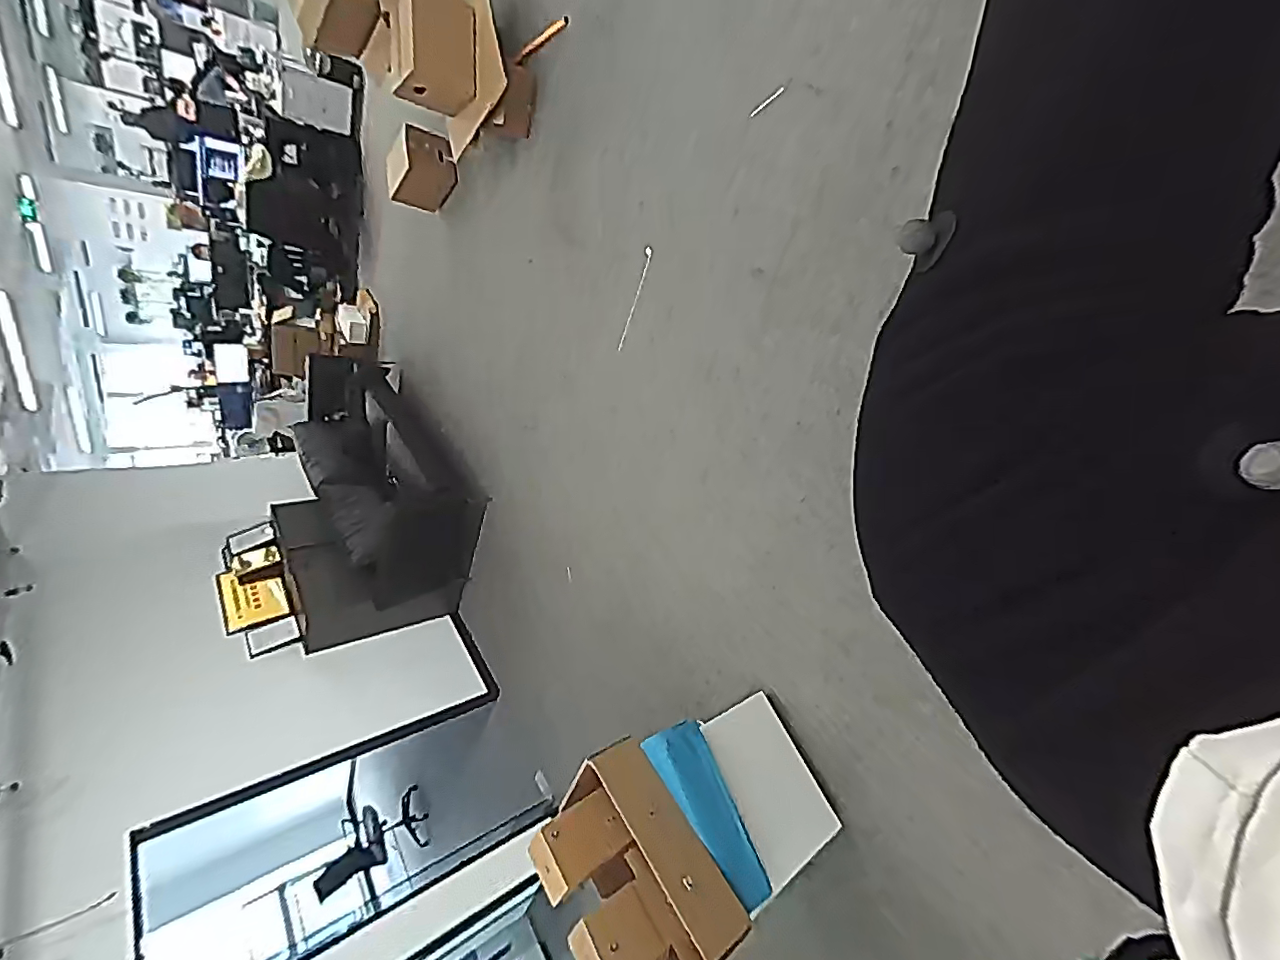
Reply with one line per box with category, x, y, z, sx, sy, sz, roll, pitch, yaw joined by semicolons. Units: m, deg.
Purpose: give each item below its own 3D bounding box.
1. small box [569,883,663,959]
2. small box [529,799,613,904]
small box;-0.065;1.268;1.486;0.179;0.176;0.168;49;130;35
small box;-0.206;1.114;1.631;0.179;0.176;0.168;48;130;32
